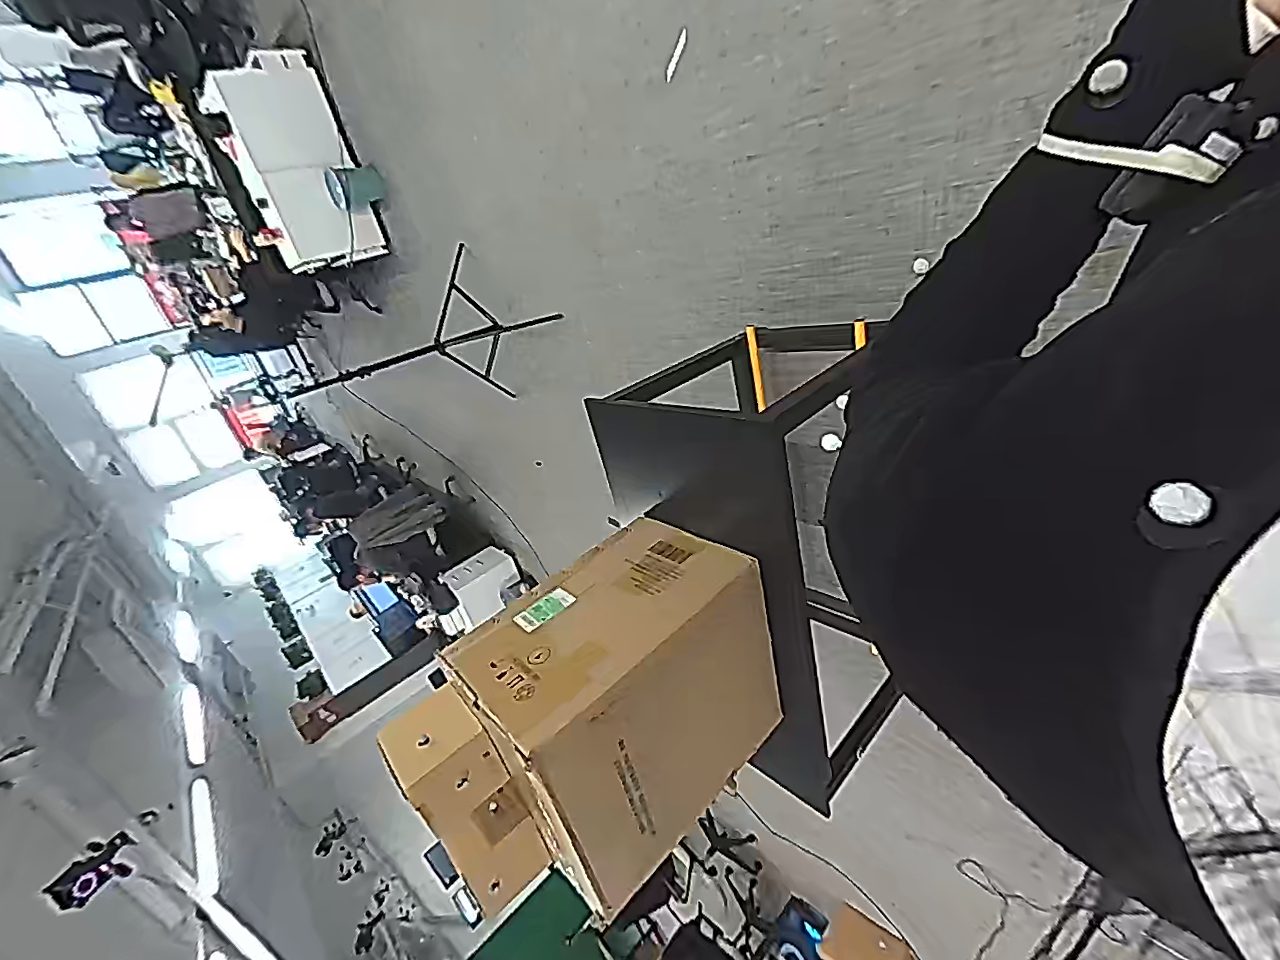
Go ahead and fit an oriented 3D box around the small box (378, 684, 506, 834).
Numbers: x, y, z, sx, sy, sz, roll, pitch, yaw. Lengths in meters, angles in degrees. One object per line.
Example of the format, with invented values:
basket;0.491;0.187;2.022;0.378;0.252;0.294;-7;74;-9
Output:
small box;-0.391;0.552;1.094;0.179;0.176;0.168;21;133;46

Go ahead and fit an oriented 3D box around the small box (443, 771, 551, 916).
small box;-0.322;0.798;1.206;0.168;0.176;0.179;17;128;48
